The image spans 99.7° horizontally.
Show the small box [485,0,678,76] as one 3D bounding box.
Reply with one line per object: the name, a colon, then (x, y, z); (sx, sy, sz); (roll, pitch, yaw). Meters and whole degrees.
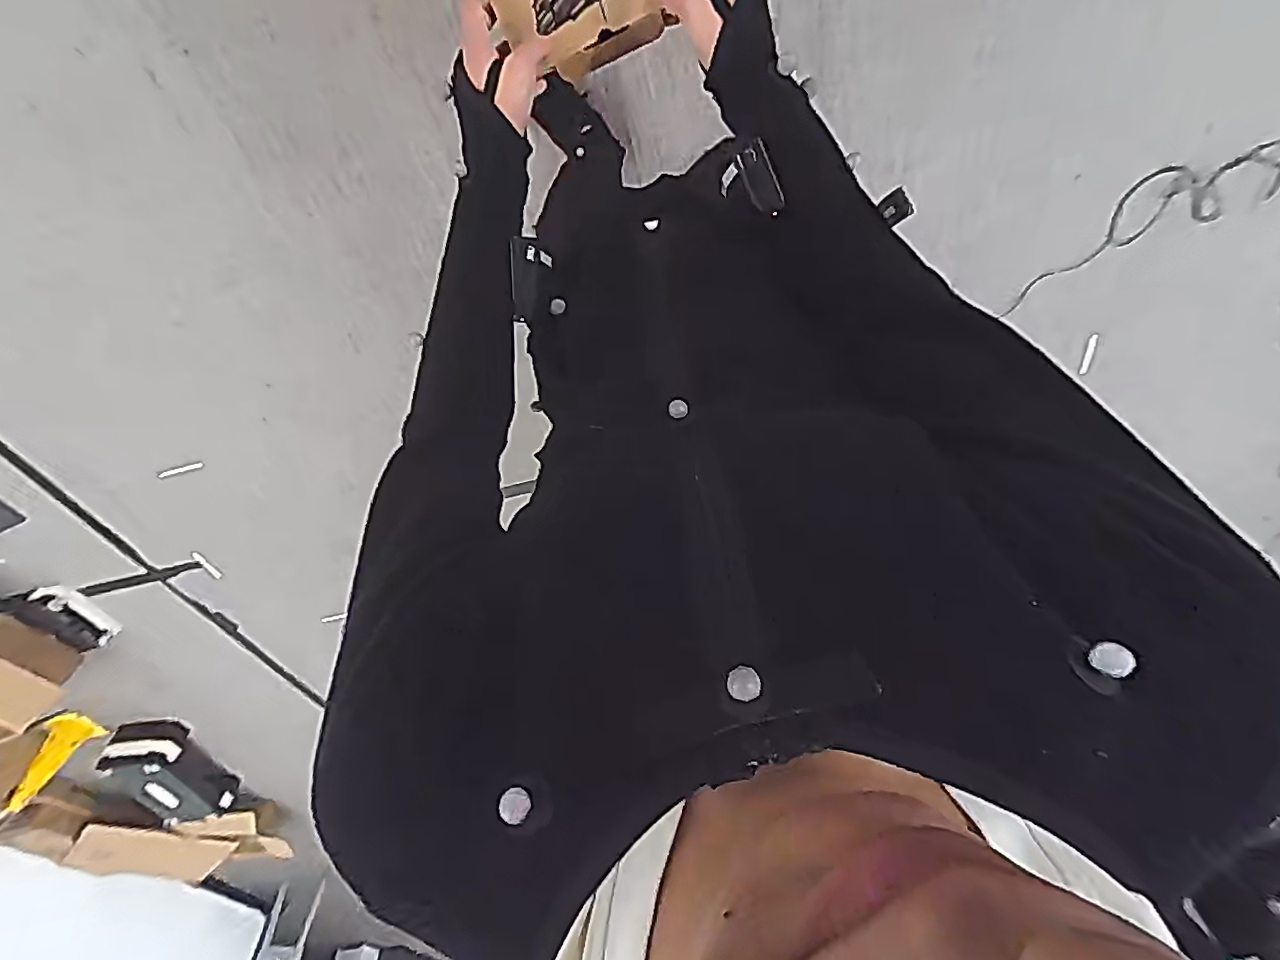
small box: (-0.063, -0.501, 0.480); (0.168, 0.176, 0.179); (-15, 128, 15)
